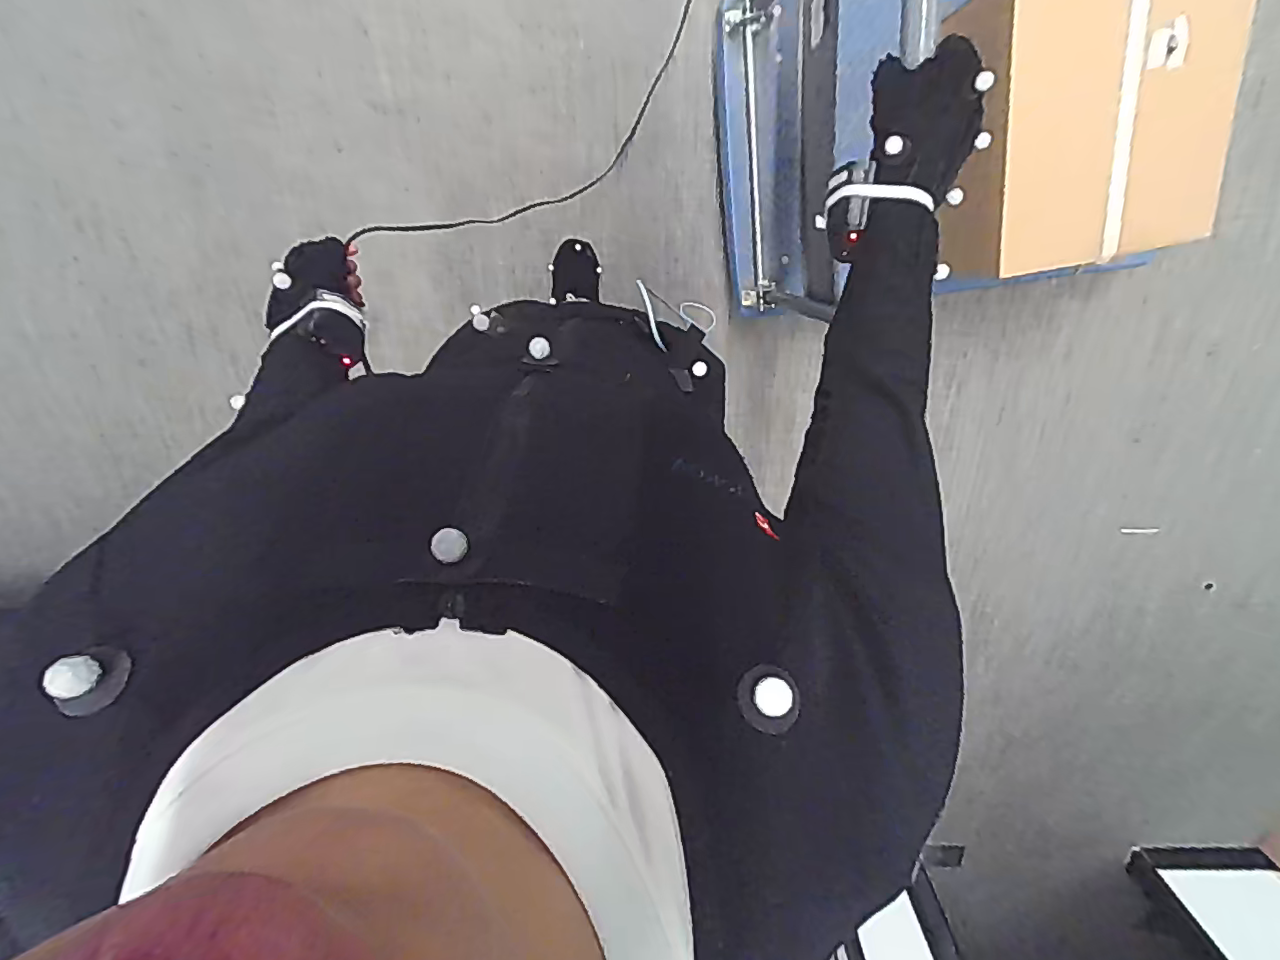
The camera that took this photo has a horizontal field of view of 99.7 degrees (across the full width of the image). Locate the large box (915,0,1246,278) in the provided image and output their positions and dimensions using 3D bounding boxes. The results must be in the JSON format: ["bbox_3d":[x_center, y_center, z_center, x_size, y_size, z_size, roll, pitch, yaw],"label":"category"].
[{"bbox_3d":[0.682,-0.584,0.908,0.320,0.320,0.408,-10,112,5],"label":"large box"}]
